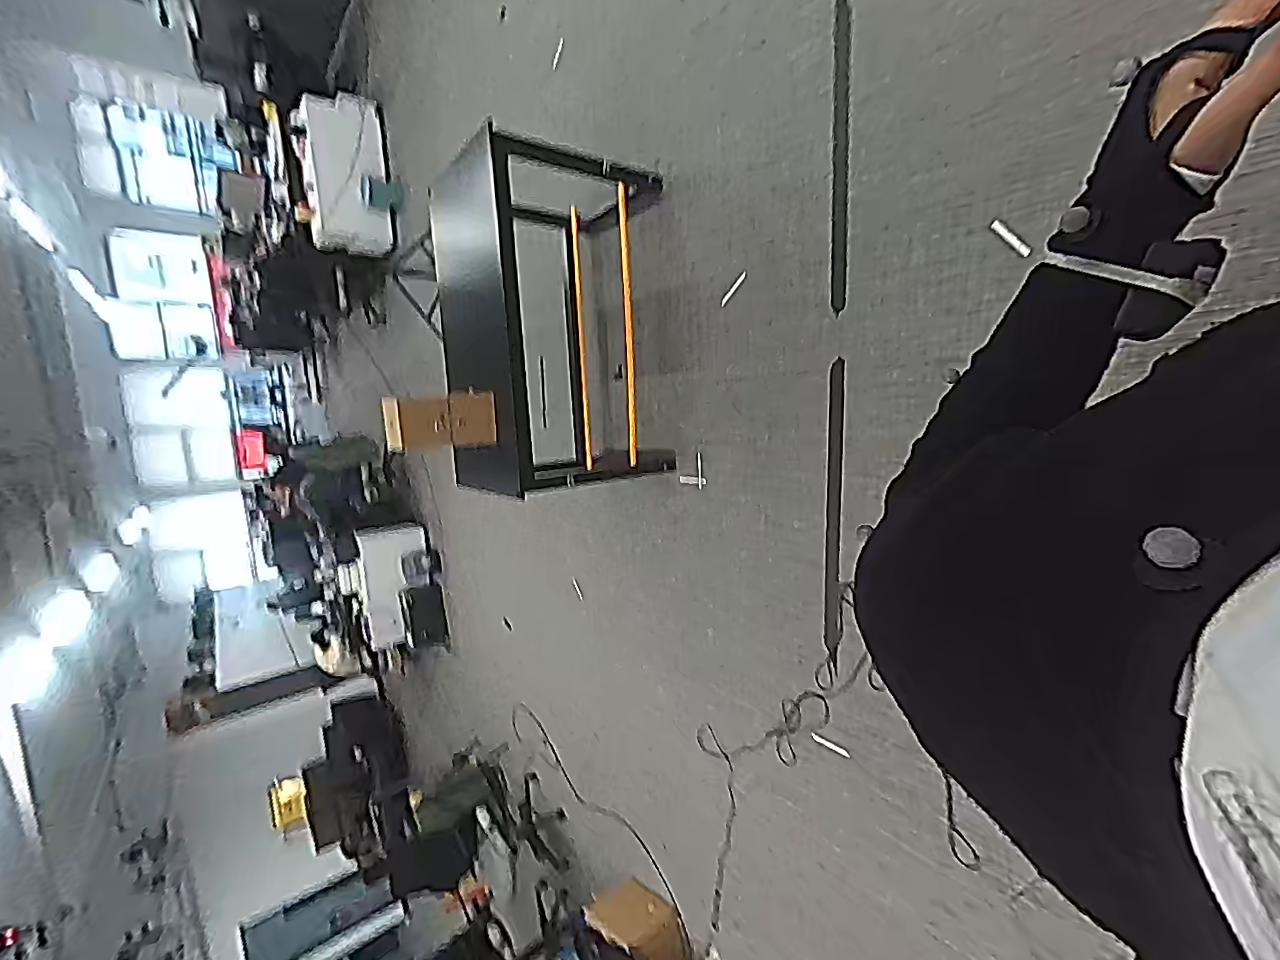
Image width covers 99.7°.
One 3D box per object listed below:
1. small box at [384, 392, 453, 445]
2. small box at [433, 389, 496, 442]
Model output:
[{"bbox_3d":[-0.748,-0.210,1.825,0.179,0.176,0.168,7,104,50],"label":"small box"},{"bbox_3d":[-0.622,-0.232,1.926,0.168,0.176,0.179,9,103,51],"label":"small box"}]
